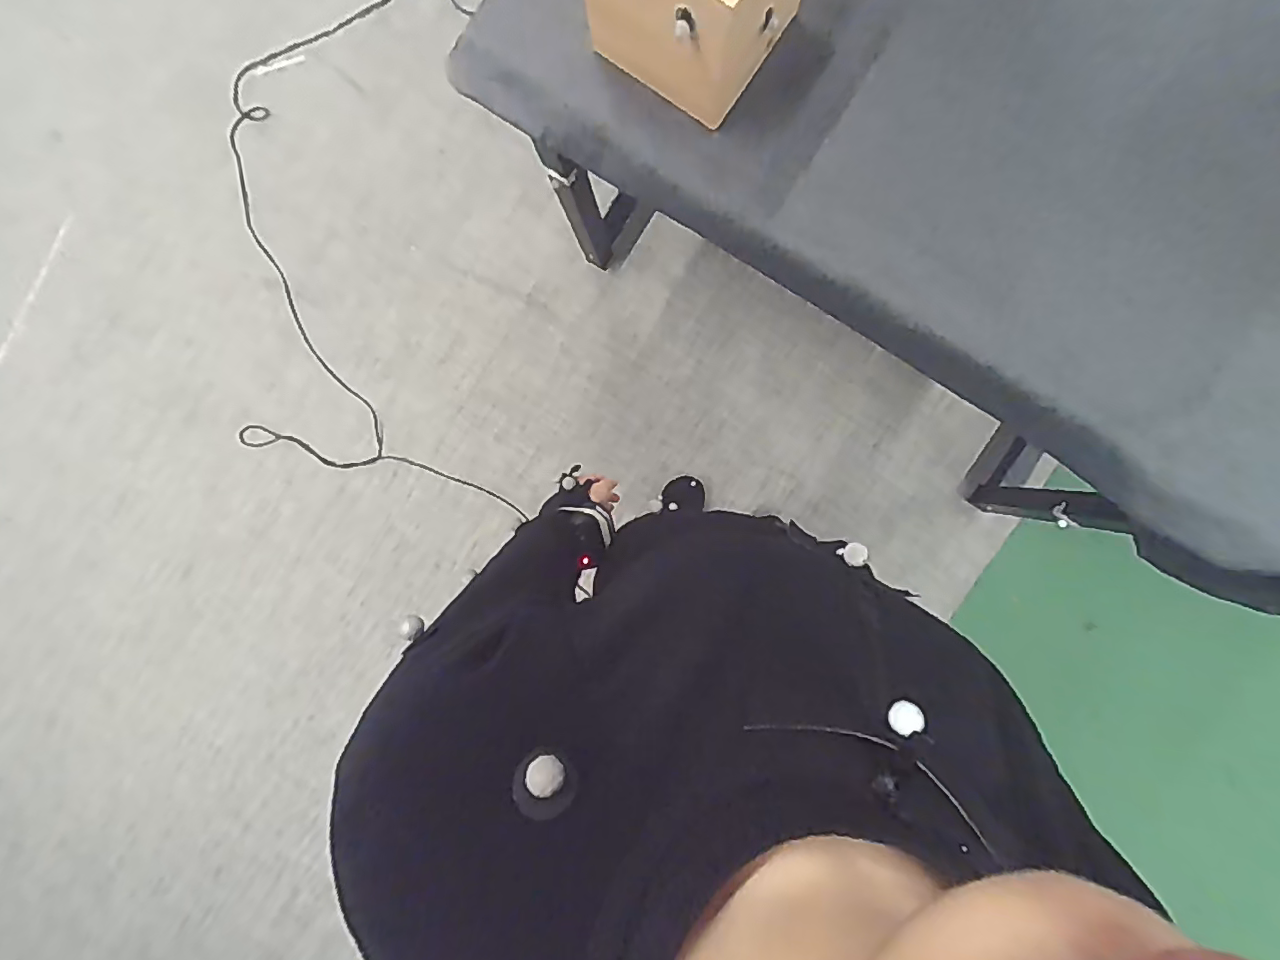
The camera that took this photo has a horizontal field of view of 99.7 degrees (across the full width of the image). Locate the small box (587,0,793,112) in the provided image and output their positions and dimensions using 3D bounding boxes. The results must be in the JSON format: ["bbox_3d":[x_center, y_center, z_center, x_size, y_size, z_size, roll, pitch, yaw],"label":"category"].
[{"bbox_3d":[0.058,-0.519,0.541,0.179,0.176,0.168,35,92,1],"label":"small box"}]
